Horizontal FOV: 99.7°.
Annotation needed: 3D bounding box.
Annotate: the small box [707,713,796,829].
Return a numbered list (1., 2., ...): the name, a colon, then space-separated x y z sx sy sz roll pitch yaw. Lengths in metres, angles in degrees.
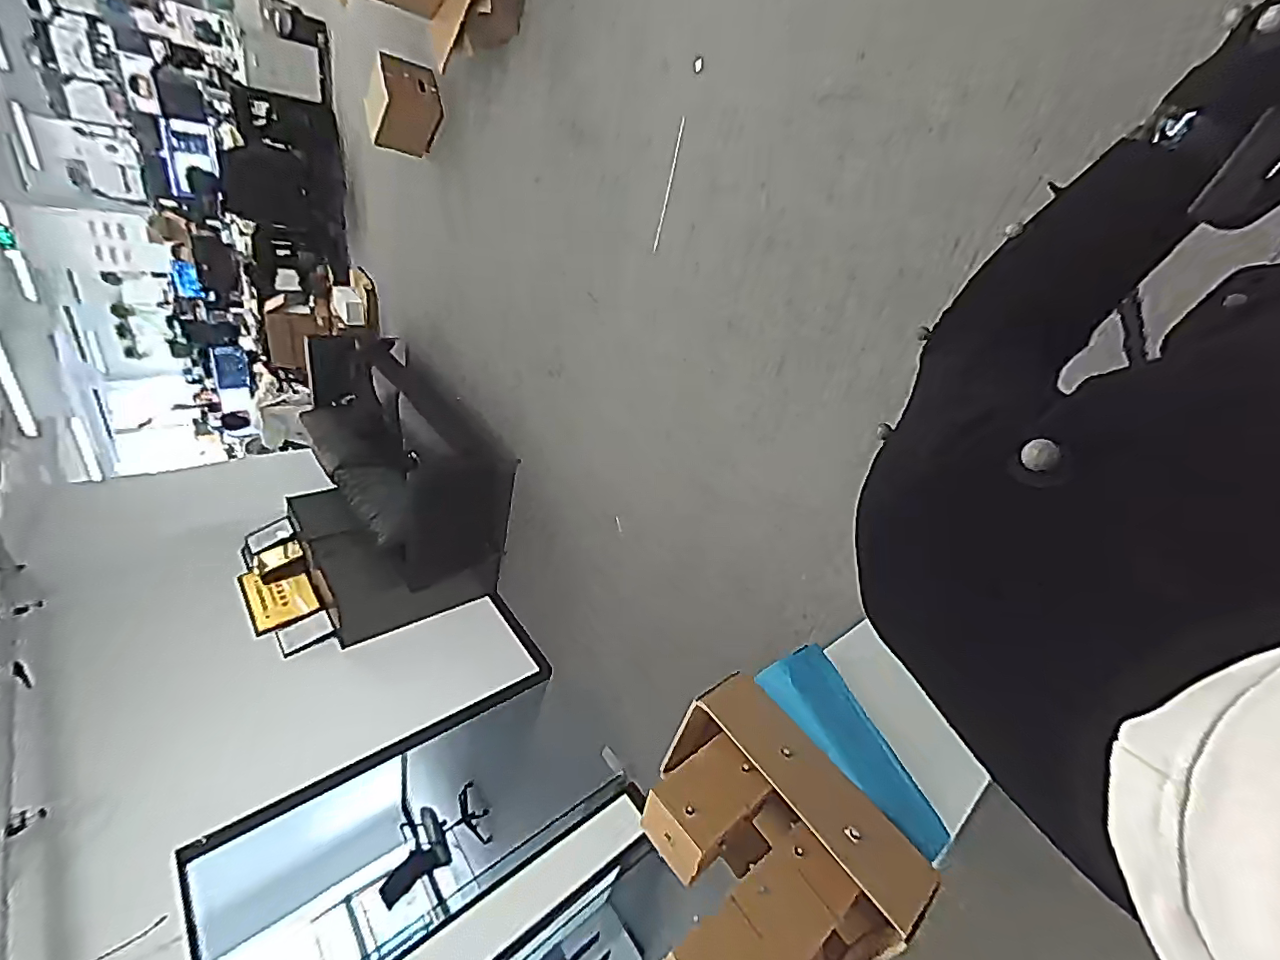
1. small box: 0.279 0.756 1.423 0.179 0.176 0.168 39 131 35

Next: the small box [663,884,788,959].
1. small box: 0.178 0.977 1.092 0.179 0.176 0.168 46 135 35

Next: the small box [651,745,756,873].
1. small box: 0.155 0.796 1.323 0.179 0.176 0.168 39 131 37

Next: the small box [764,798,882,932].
1. small box: 0.435 0.906 1.284 0.179 0.176 0.168 44 134 36
